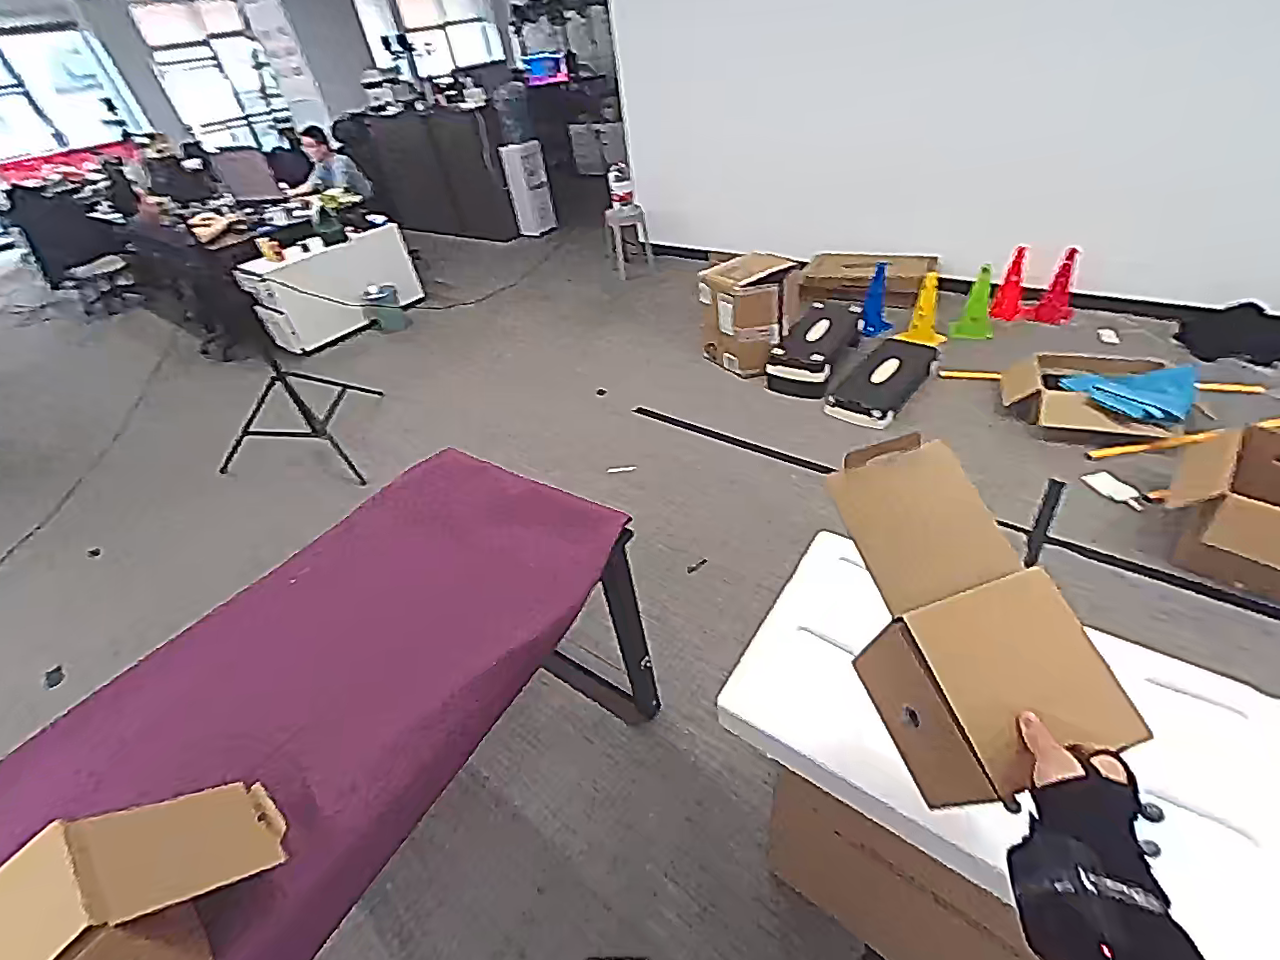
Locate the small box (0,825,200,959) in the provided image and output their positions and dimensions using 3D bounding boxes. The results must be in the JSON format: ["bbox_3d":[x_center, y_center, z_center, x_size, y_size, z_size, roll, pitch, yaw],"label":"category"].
[{"bbox_3d":[-0.633,0.536,0.592,0.168,0.176,0.179,21,49,34],"label":"small box"}]
